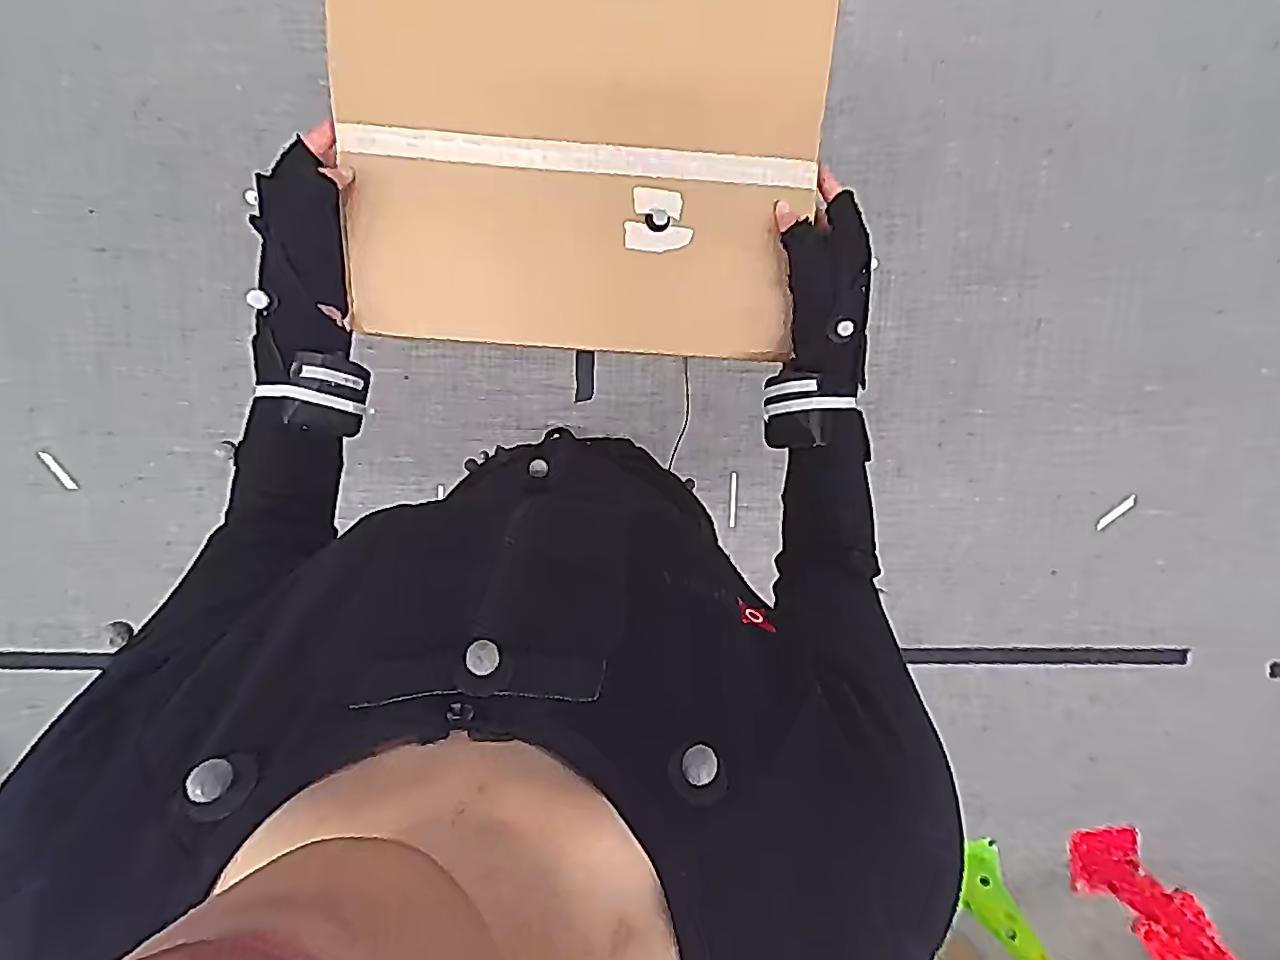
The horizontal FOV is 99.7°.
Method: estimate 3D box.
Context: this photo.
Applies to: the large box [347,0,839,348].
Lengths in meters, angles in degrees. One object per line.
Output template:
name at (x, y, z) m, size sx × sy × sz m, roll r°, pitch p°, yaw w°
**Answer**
large box at (-0.049, -0.317, 0.606) m, size 0.408 × 0.320 × 0.320 m, roll 3°, pitch 105°, yaw -4°
